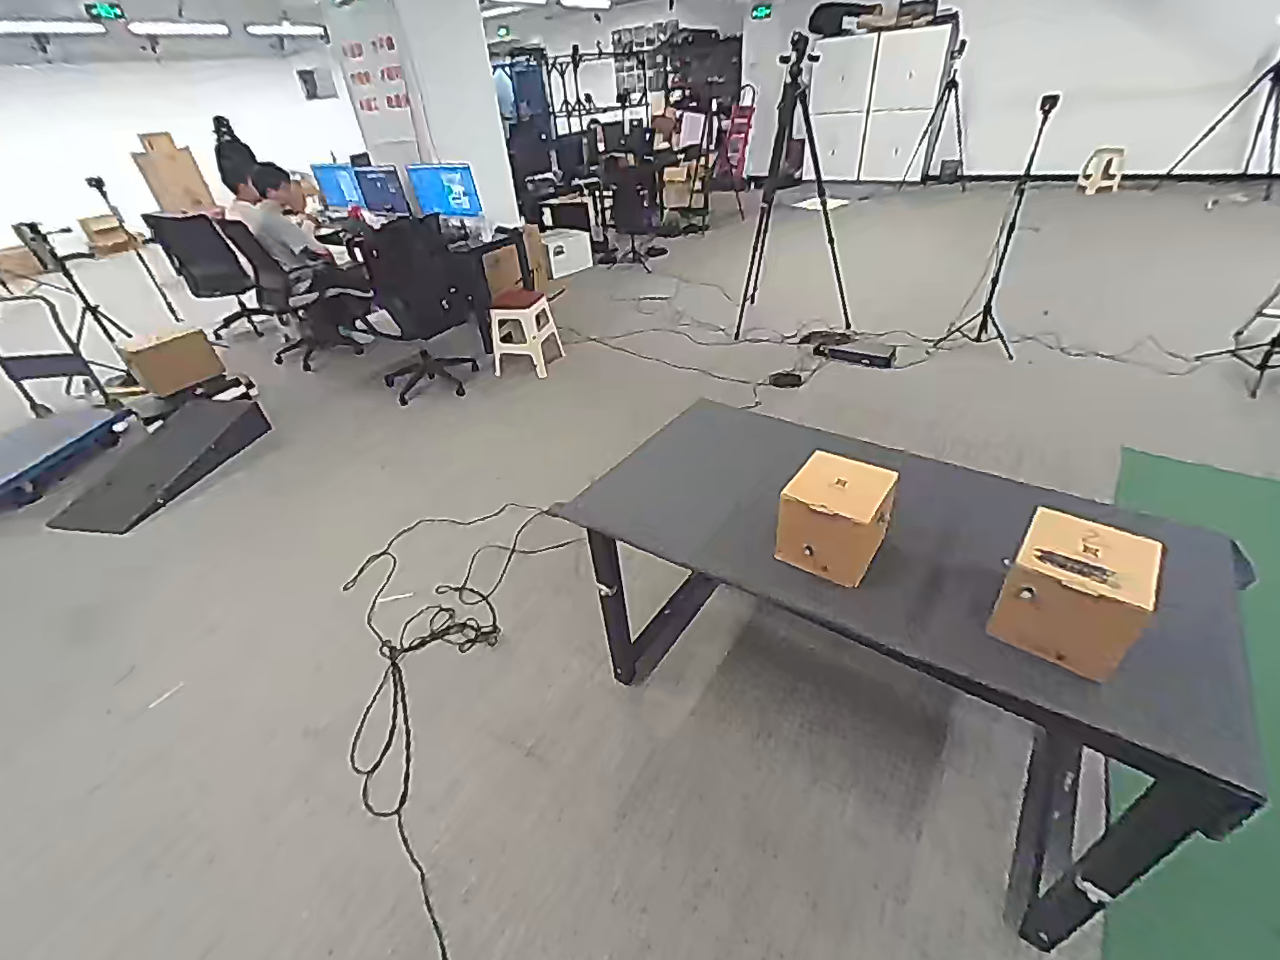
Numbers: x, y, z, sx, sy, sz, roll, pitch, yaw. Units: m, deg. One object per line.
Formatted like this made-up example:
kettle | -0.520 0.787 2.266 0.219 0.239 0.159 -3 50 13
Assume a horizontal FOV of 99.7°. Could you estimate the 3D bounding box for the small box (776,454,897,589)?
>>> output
small box | 0.382 0.079 1.070 0.168 0.176 0.179 22 43 31
